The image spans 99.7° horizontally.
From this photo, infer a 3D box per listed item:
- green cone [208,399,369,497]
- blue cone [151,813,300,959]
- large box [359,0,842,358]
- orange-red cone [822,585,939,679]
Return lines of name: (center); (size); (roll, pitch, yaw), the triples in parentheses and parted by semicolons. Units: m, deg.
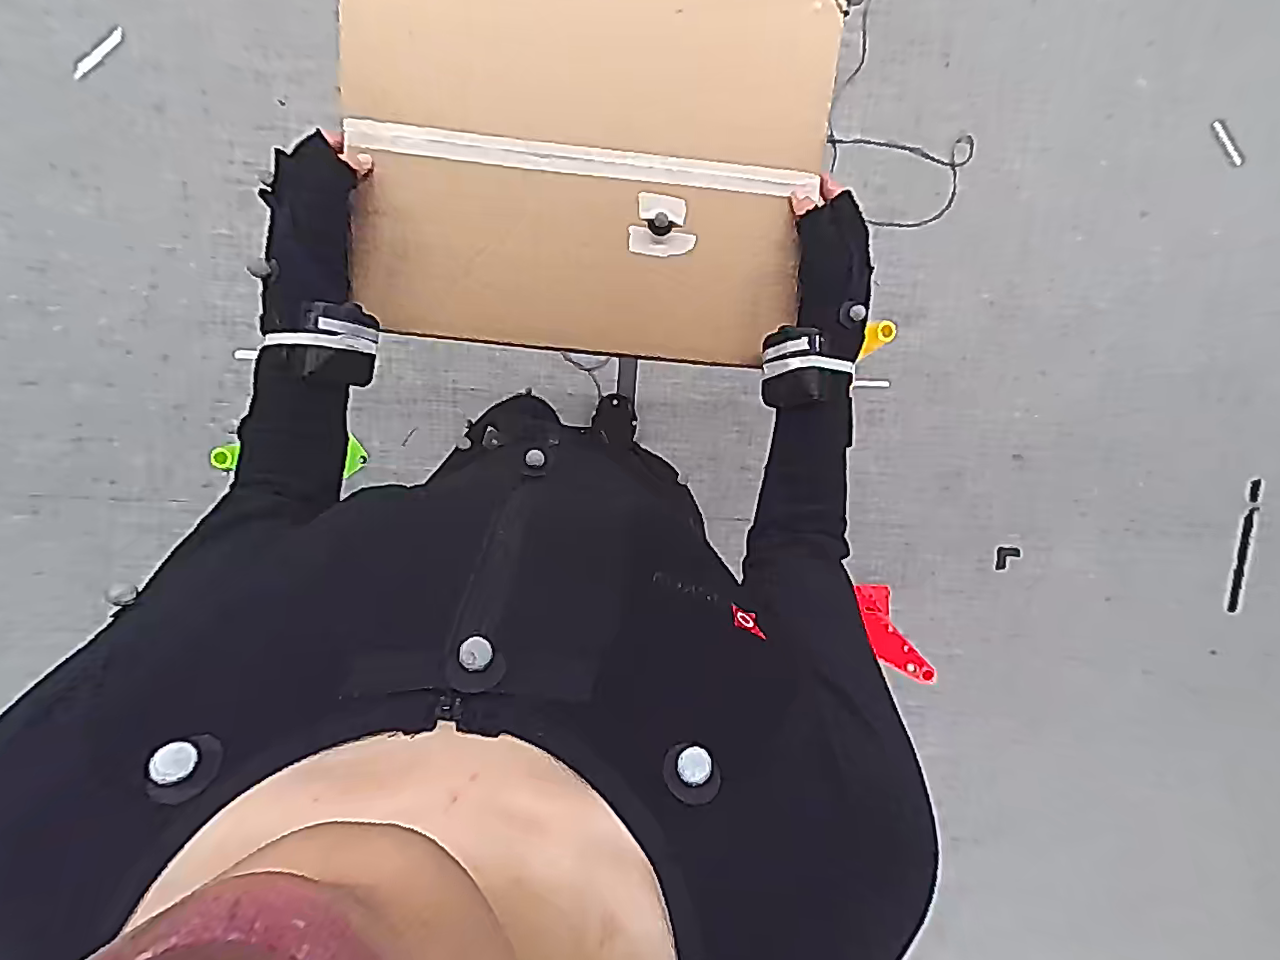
green cone: (-0.830, -0.065, 1.236); (0.202, 0.368, 0.200); (-34, 96, 2)
blue cone: (-1.046, 1.040, 1.349); (0.192, 0.380, 0.193); (6, 95, -3)
large box: (-0.048, -0.312, 0.615); (0.408, 0.320, 0.320); (4, 103, -5)
orange-red cone: (0.628, 0.407, 1.366); (0.198, 0.360, 0.199); (0, 94, -4)
